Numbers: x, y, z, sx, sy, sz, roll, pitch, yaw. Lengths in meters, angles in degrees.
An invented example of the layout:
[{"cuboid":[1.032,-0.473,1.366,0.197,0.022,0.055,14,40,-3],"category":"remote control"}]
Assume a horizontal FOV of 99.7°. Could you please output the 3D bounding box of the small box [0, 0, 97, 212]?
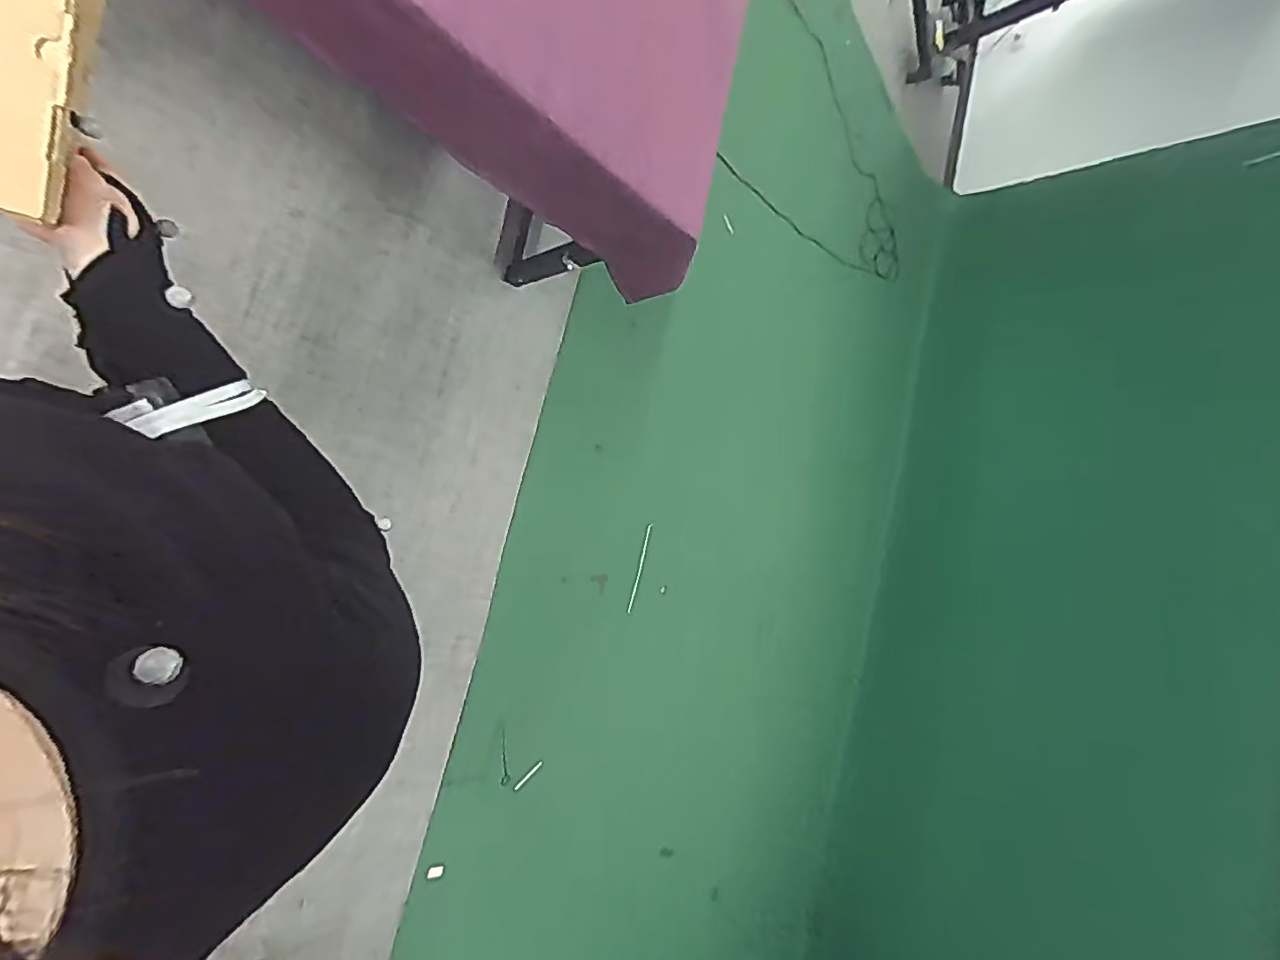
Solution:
[{"cuboid":[-0.408,-0.250,0.271,0.179,0.176,0.168,7,103,-45],"category":"small box"}]
